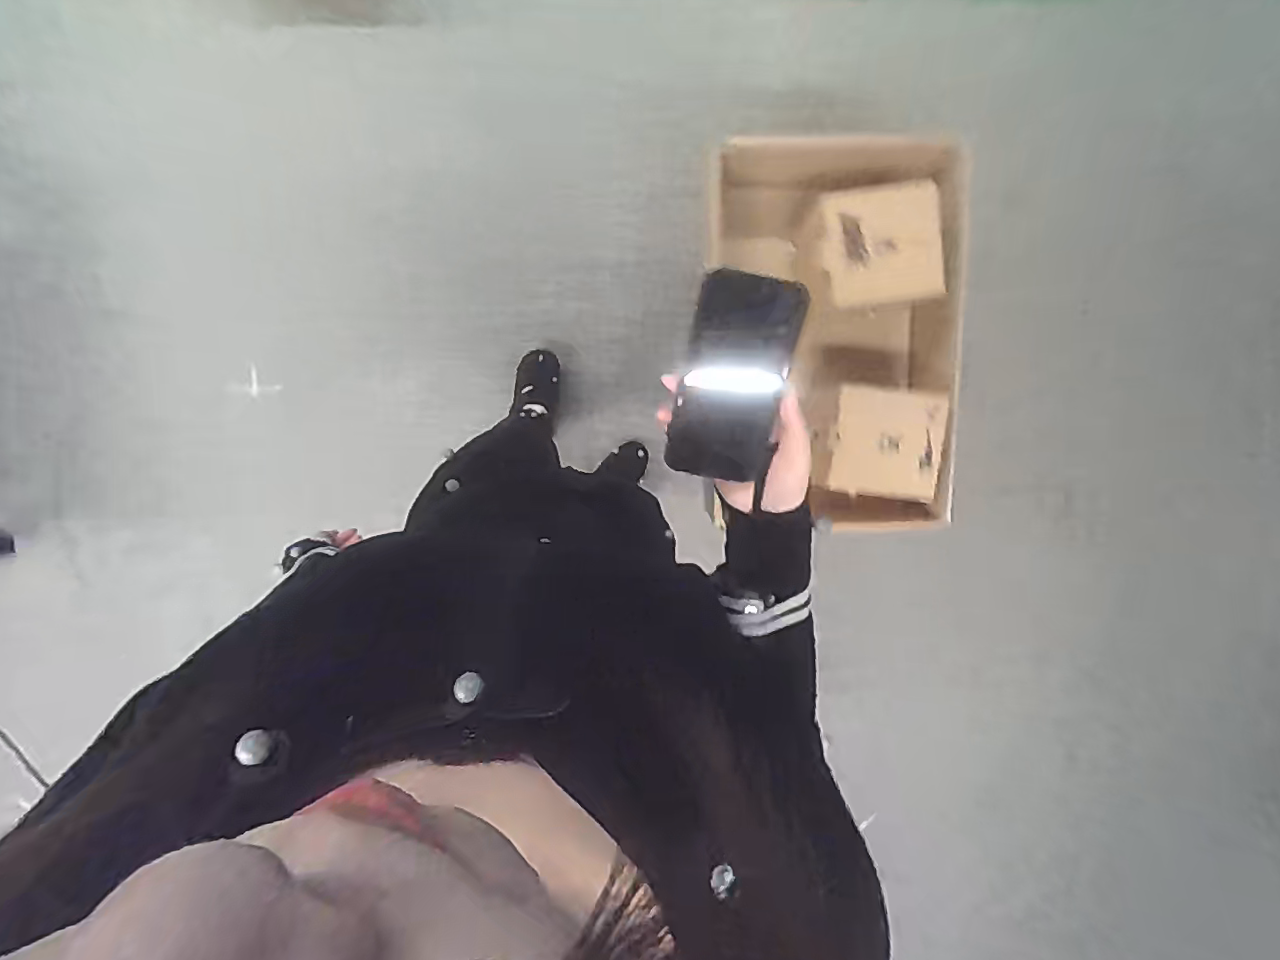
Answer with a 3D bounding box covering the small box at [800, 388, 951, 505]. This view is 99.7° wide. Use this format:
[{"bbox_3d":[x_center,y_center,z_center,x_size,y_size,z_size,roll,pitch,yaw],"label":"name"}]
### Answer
[{"bbox_3d":[0.390,-0.059,0.928,0.179,0.176,0.168,8,96,0],"label":"small box"}]
